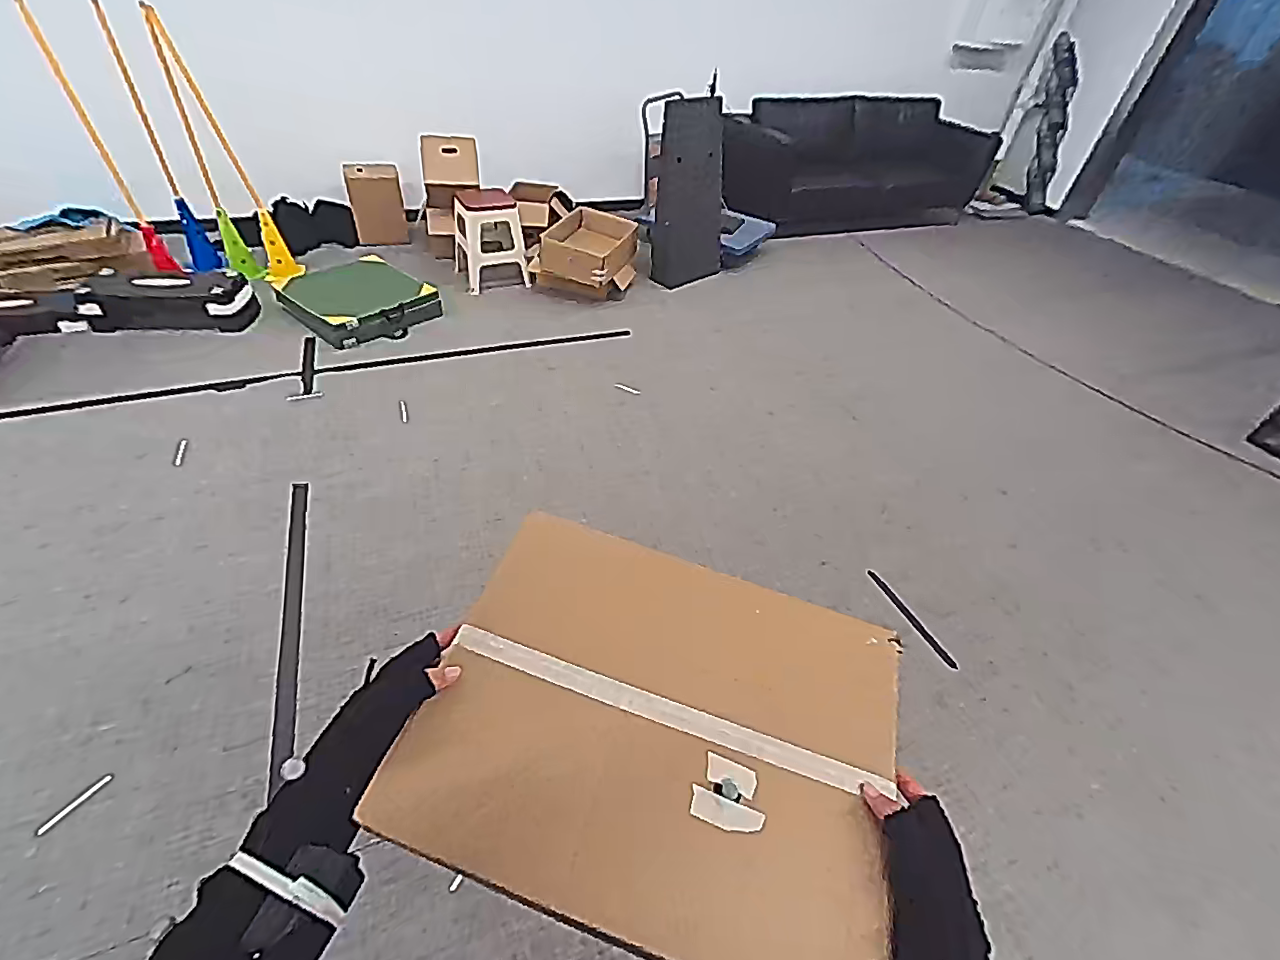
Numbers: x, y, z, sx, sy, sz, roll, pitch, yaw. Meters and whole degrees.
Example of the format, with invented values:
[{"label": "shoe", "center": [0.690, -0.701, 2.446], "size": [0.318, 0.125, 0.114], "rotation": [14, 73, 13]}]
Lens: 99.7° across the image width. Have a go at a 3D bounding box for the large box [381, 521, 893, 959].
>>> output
[{"label": "large box", "center": [0.011, 0.305, 0.604], "size": [0.408, 0.320, 0.320], "rotation": [19, 52, 7]}]
